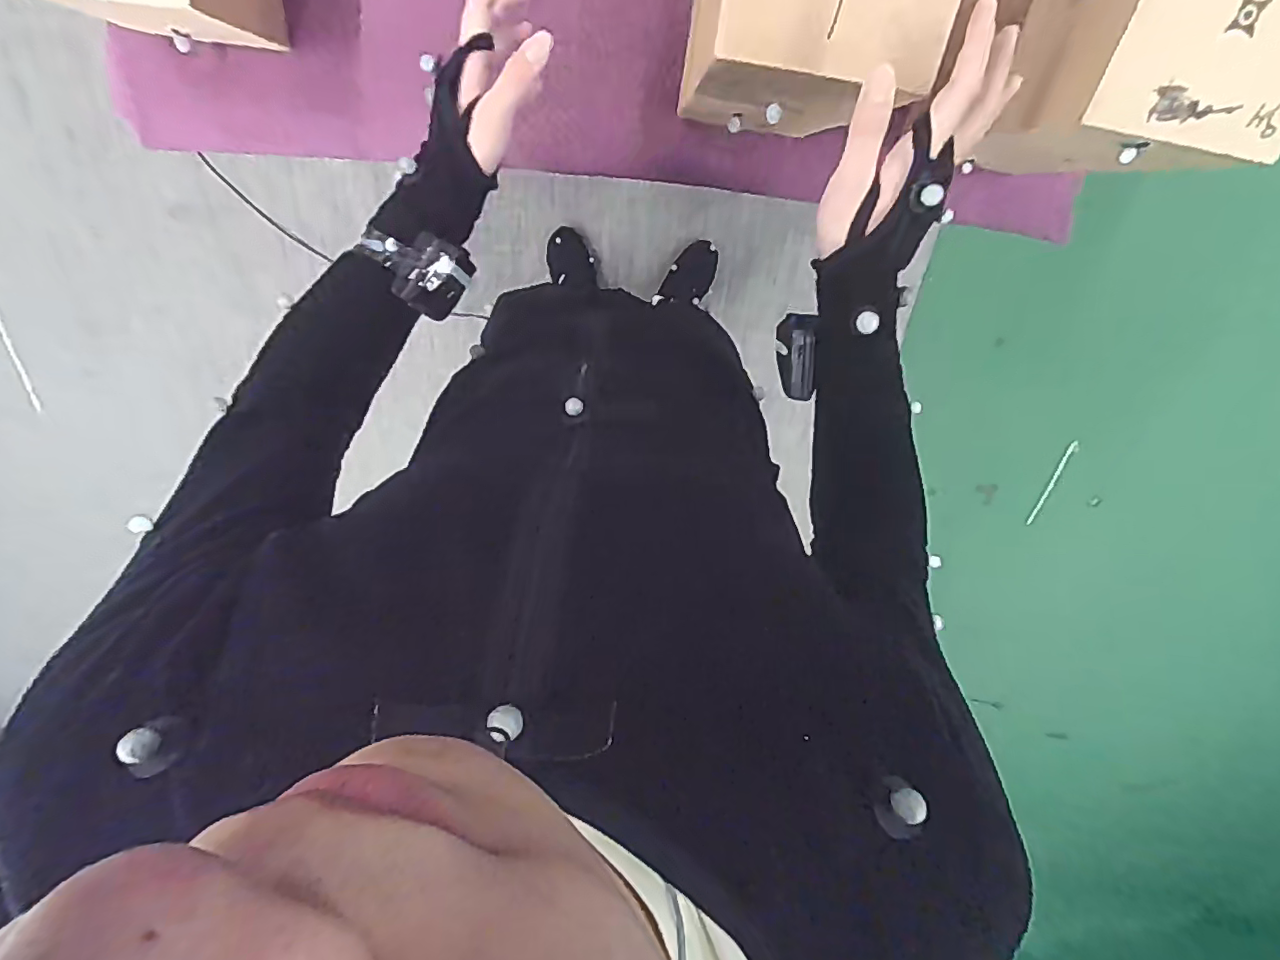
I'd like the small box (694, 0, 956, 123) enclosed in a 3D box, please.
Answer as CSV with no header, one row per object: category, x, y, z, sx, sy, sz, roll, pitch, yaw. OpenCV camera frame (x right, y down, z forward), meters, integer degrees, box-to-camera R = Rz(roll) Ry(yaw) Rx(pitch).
small box,0.141,-0.405,0.425,0.168,0.176,0.179,7,118,-4

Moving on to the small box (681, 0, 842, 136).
small box,0.138,-0.480,0.571,0.168,0.176,0.179,7,117,-4

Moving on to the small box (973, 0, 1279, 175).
small box,0.420,-0.367,0.444,0.168,0.176,0.179,9,117,-4

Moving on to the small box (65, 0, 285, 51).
small box,-0.483,-0.550,0.520,0.168,0.176,0.179,5,118,-3
